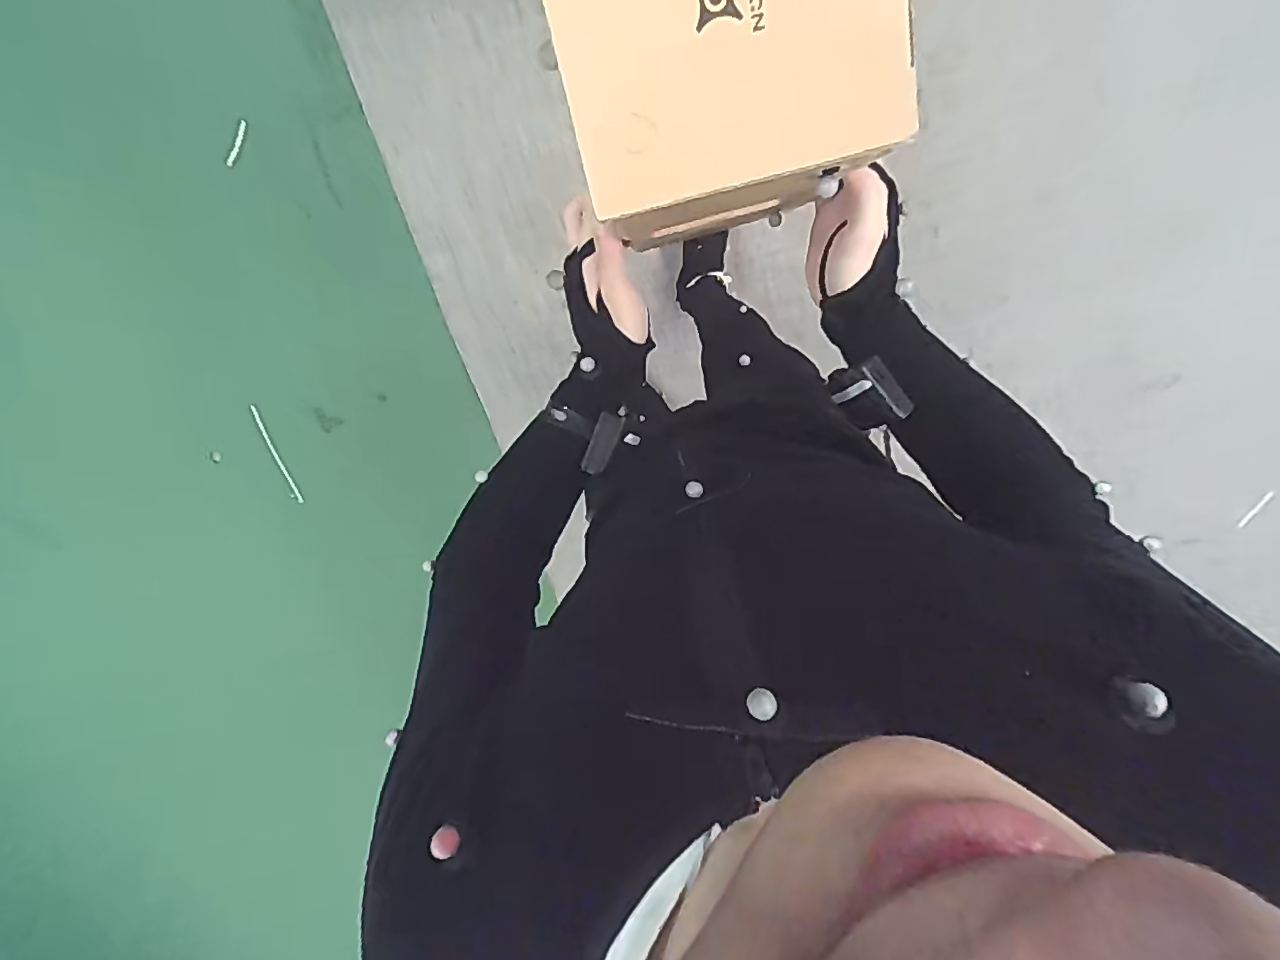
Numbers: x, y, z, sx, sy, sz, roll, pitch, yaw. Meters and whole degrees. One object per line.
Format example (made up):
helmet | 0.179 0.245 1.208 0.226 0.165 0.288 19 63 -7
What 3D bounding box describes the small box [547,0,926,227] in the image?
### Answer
small box | 0.044 -0.266 0.330 0.179 0.176 0.168 -12 109 6
